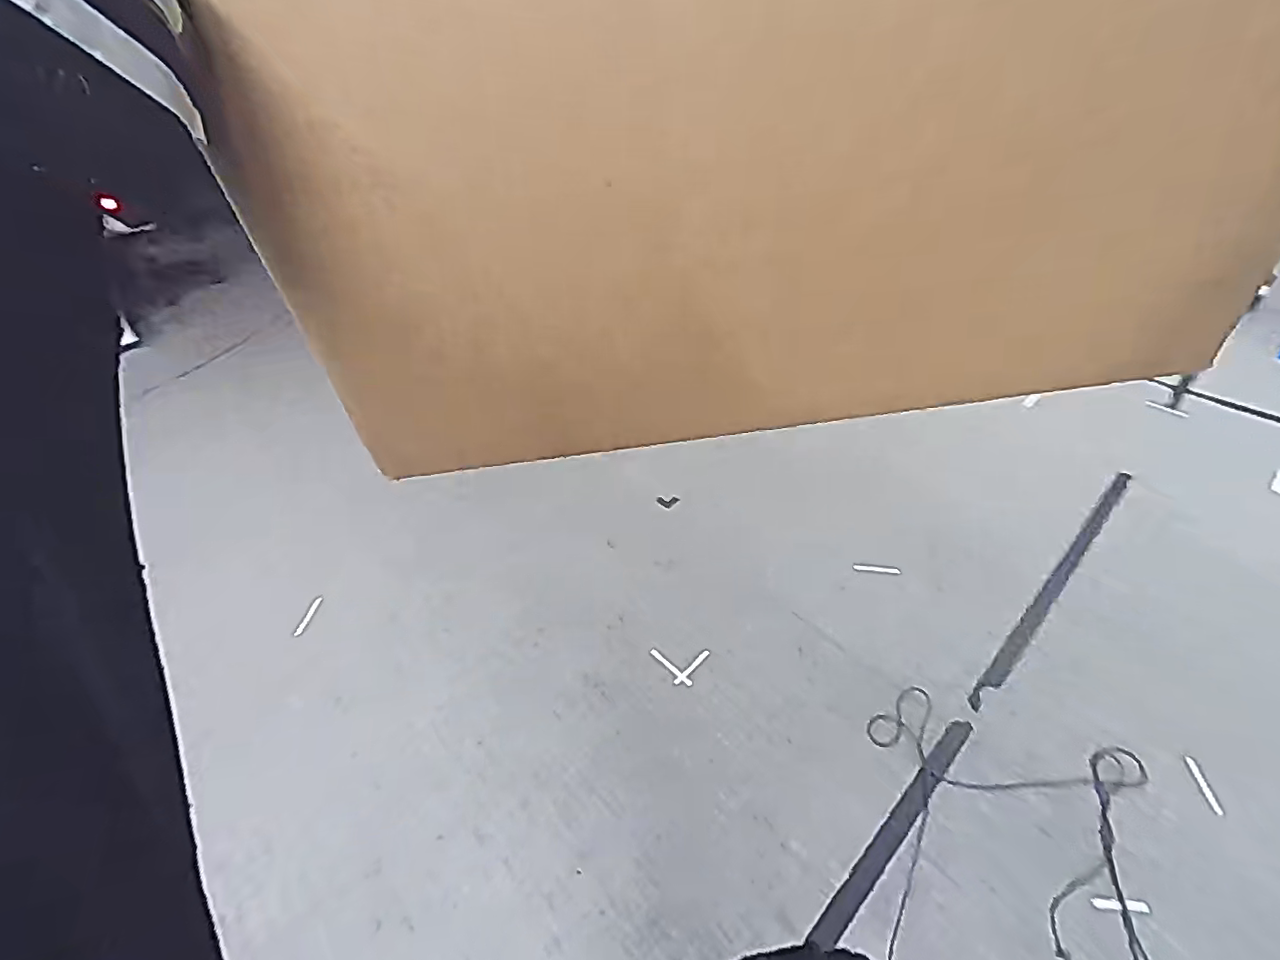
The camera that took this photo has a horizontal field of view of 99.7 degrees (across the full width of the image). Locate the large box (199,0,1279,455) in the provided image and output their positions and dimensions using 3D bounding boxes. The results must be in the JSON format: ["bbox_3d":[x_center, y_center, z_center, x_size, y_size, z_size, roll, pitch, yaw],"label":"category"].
[{"bbox_3d":[0.050,-0.242,0.292,0.408,0.320,0.320,-7,41,-1],"label":"large box"}]
